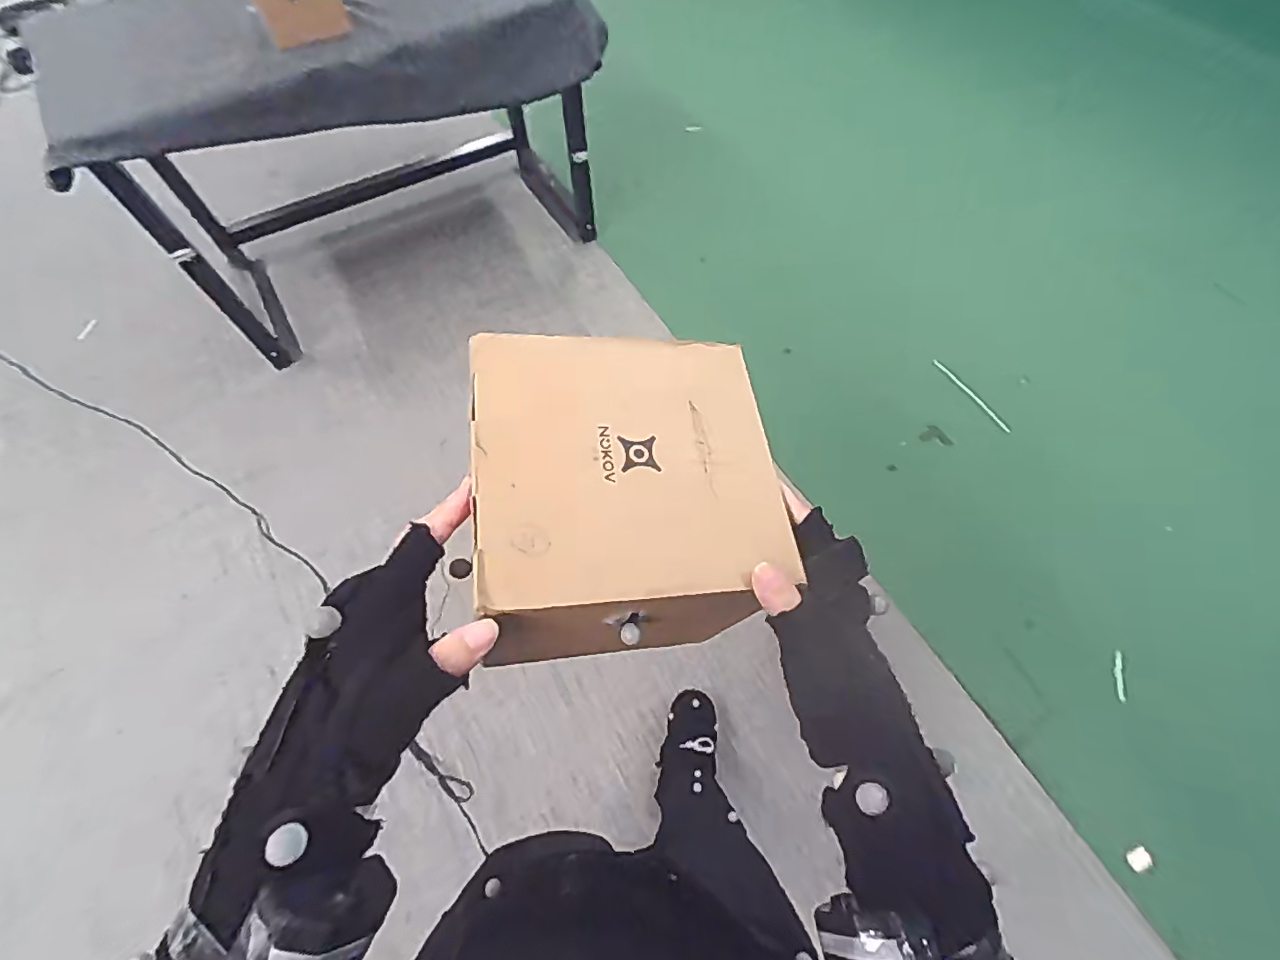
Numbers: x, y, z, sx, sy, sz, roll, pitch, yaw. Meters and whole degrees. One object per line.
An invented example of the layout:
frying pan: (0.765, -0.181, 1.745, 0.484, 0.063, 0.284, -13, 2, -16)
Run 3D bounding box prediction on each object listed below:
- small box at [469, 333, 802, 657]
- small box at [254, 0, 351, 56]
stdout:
small box: (-0.023, 0.020, 0.378, 0.179, 0.176, 0.168, -2, 64, -17)
small box: (-0.783, -1.108, 1.222, 0.179, 0.176, 0.168, -27, 65, -12)
